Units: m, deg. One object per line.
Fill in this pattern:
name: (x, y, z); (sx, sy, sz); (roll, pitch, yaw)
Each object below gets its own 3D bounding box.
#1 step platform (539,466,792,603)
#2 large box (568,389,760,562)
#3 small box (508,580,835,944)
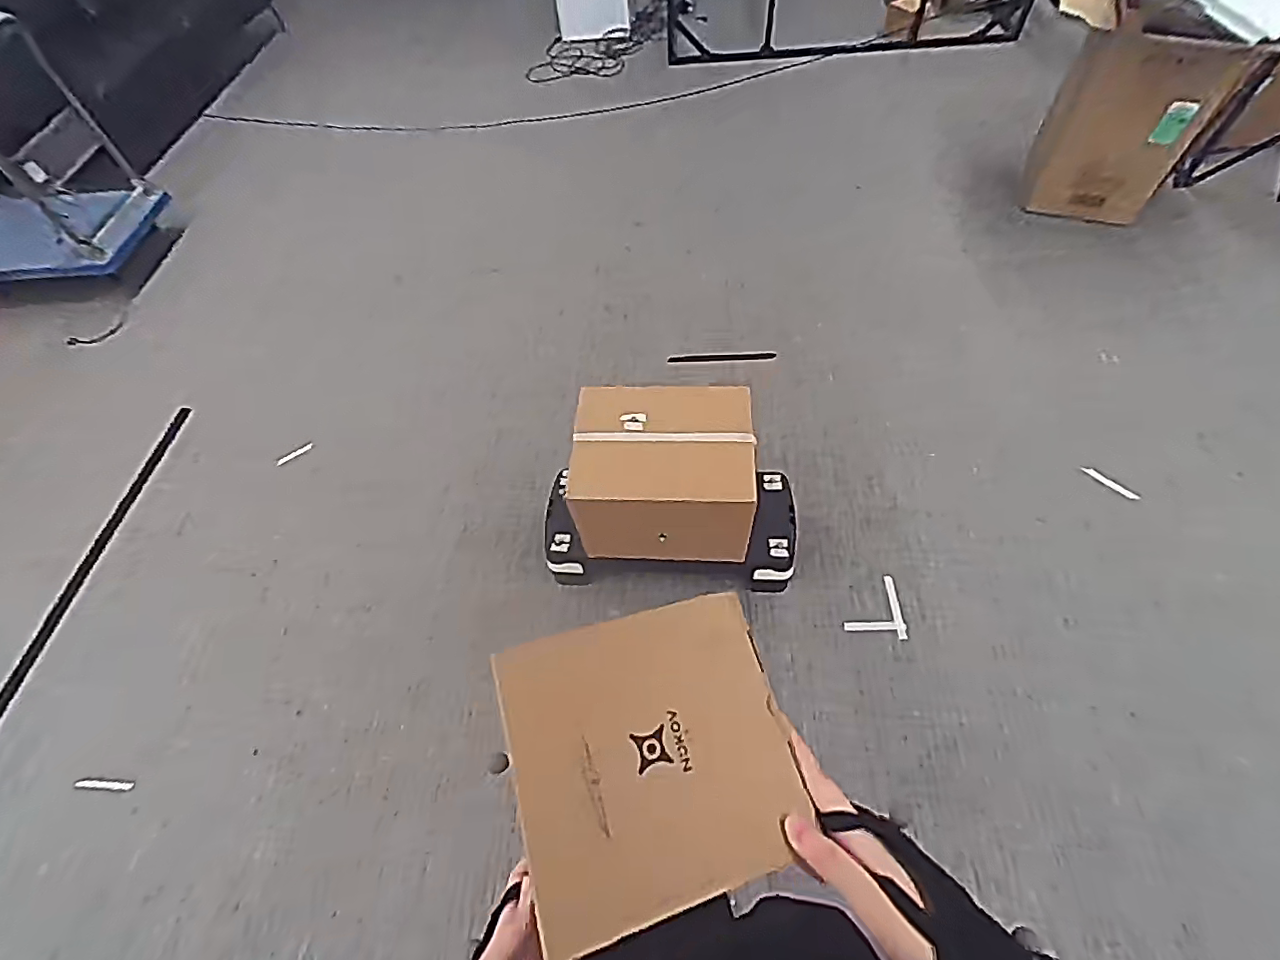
step platform: (0.070, 0.142, 1.508); (0.684, 0.204, 0.286); (4, 58, 9)
large box: (0.068, 0.001, 1.314); (0.408, 0.320, 0.320); (0, 57, 7)
small box: (0.001, 0.188, 0.399); (0.179, 0.176, 0.168); (-8, 65, -16)
